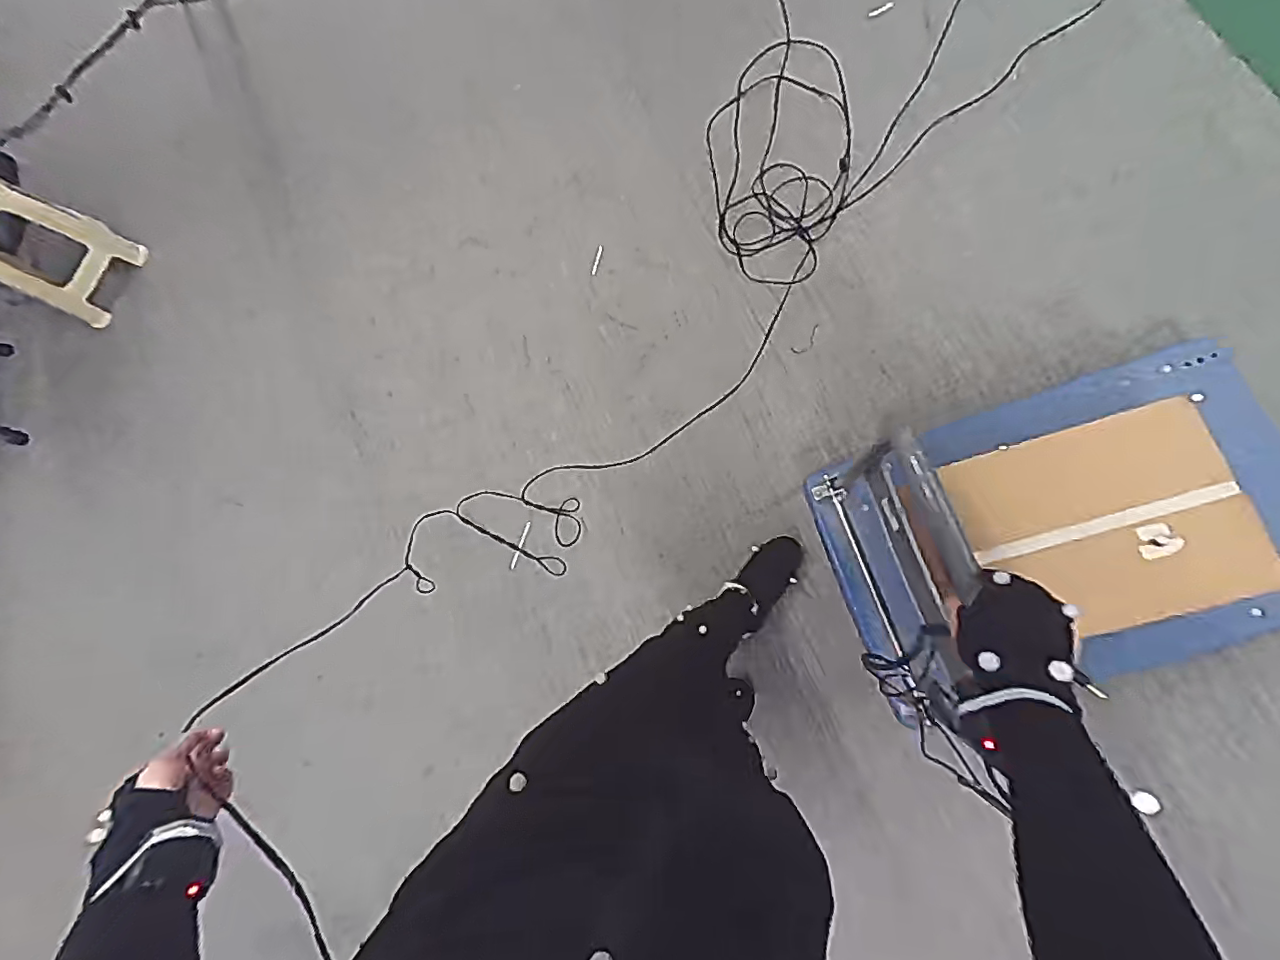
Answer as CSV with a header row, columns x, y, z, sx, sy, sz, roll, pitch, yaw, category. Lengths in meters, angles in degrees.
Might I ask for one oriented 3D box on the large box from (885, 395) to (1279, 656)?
x,y,z,sx,sy,sz,roll,pitch,yaw,category
0.731,0.097,0.983,0.408,0.320,0.320,-18,78,8,large box
